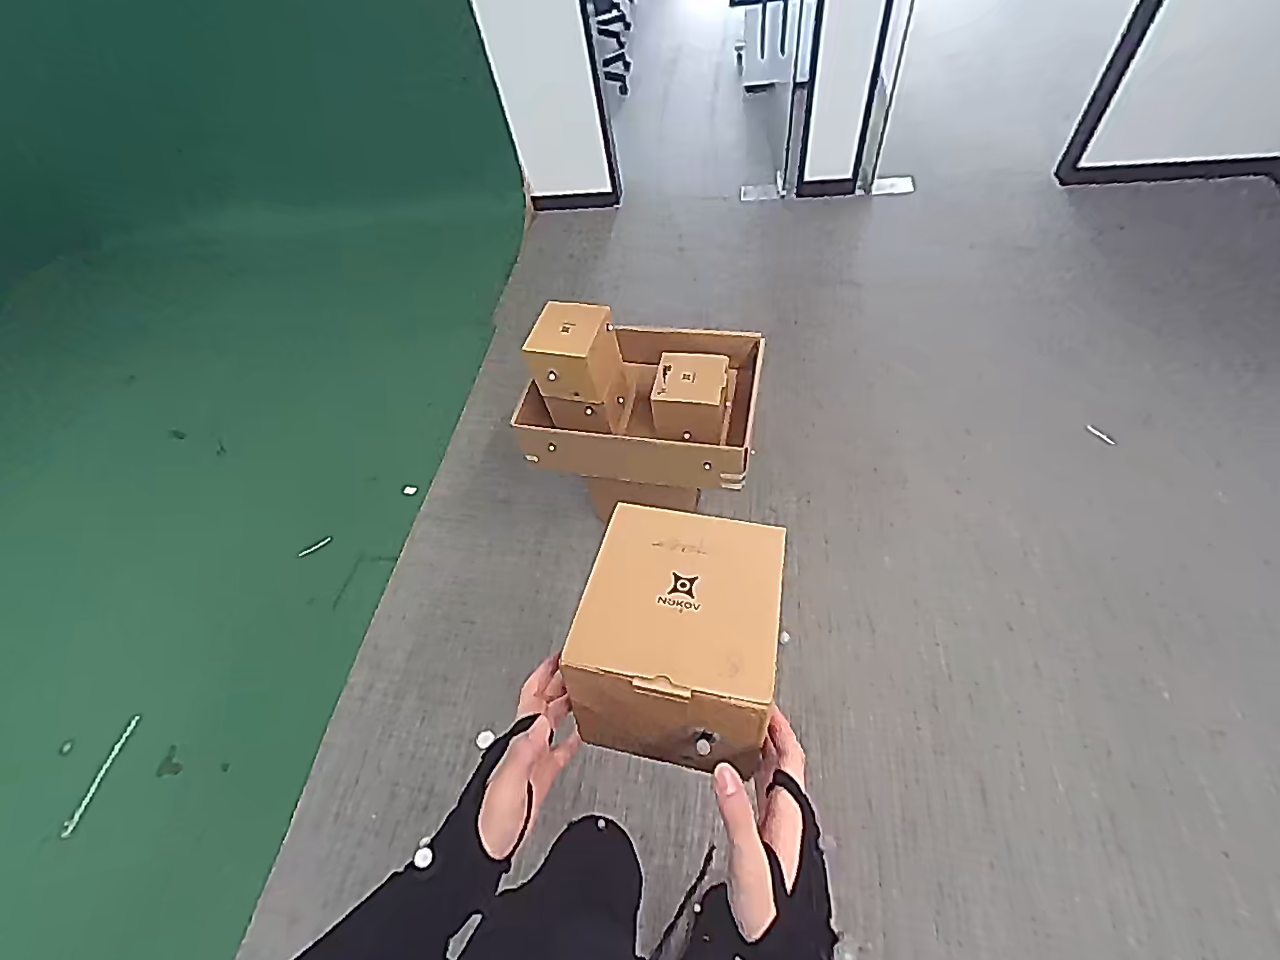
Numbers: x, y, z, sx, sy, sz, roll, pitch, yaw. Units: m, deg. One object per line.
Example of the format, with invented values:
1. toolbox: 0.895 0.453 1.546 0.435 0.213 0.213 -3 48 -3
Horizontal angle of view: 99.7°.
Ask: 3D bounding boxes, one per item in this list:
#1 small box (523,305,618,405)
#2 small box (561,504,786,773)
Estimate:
1. small box: -0.162 -0.309 1.348 0.168 0.176 0.179 10 58 15
2. small box: 0.041 0.151 0.519 0.168 0.176 0.179 9 45 12
